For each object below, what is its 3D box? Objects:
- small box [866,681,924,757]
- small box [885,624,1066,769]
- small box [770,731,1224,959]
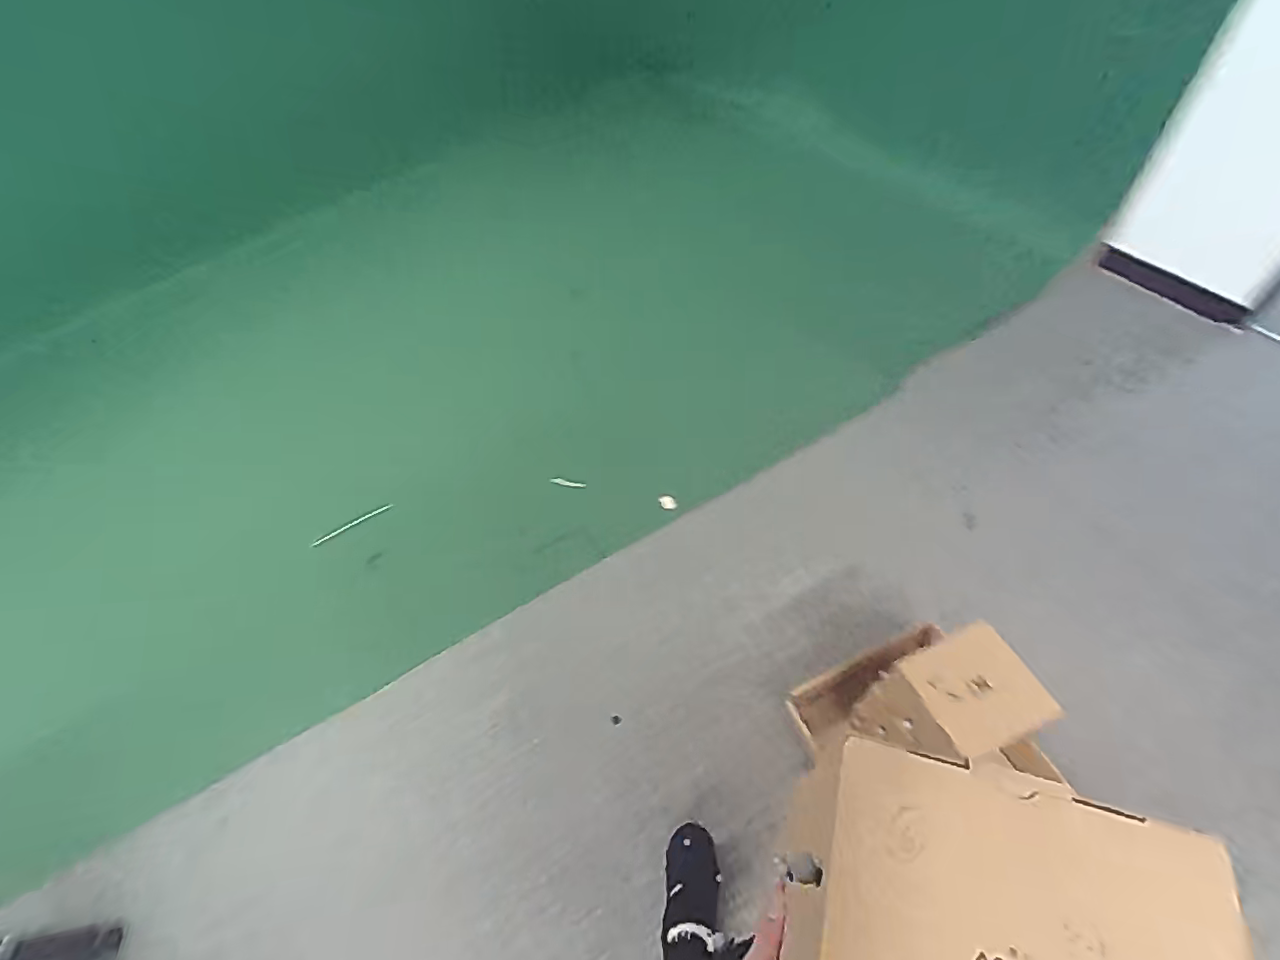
[{"bbox_3d":[0.572,0.464,1.057,0.179,0.176,0.168,-24,56,-5],"label":"small box"},{"bbox_3d":[0.551,0.375,0.919,0.179,0.176,0.168,-24,56,-4],"label":"small box"},{"bbox_3d":[0.162,0.260,0.291,0.168,0.176,0.179,9,61,17],"label":"small box"}]
